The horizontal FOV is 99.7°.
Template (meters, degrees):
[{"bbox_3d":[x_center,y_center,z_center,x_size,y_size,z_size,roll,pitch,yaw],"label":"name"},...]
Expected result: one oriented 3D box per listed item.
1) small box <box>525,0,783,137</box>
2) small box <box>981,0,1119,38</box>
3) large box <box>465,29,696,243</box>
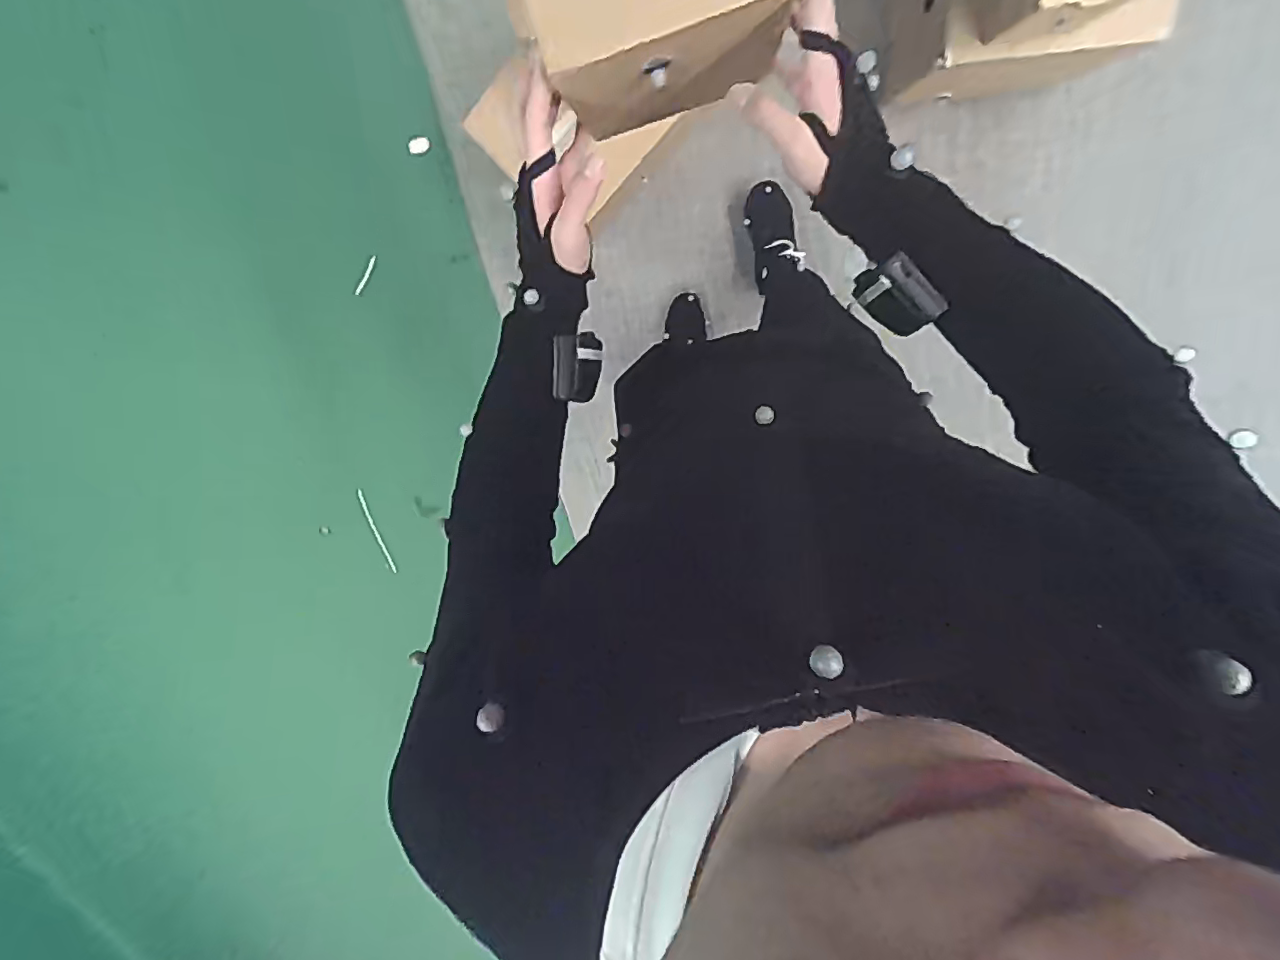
[{"bbox_3d":[0.007,-0.397,0.418,0.179,0.176,0.168,-12,107,10],"label":"small box"},{"bbox_3d":[0.691,-0.861,0.887,0.168,0.176,0.179,-6,113,5],"label":"small box"},{"bbox_3d":[-0.111,-0.804,1.219,0.320,0.320,0.408,43,109,-12],"label":"large box"}]
